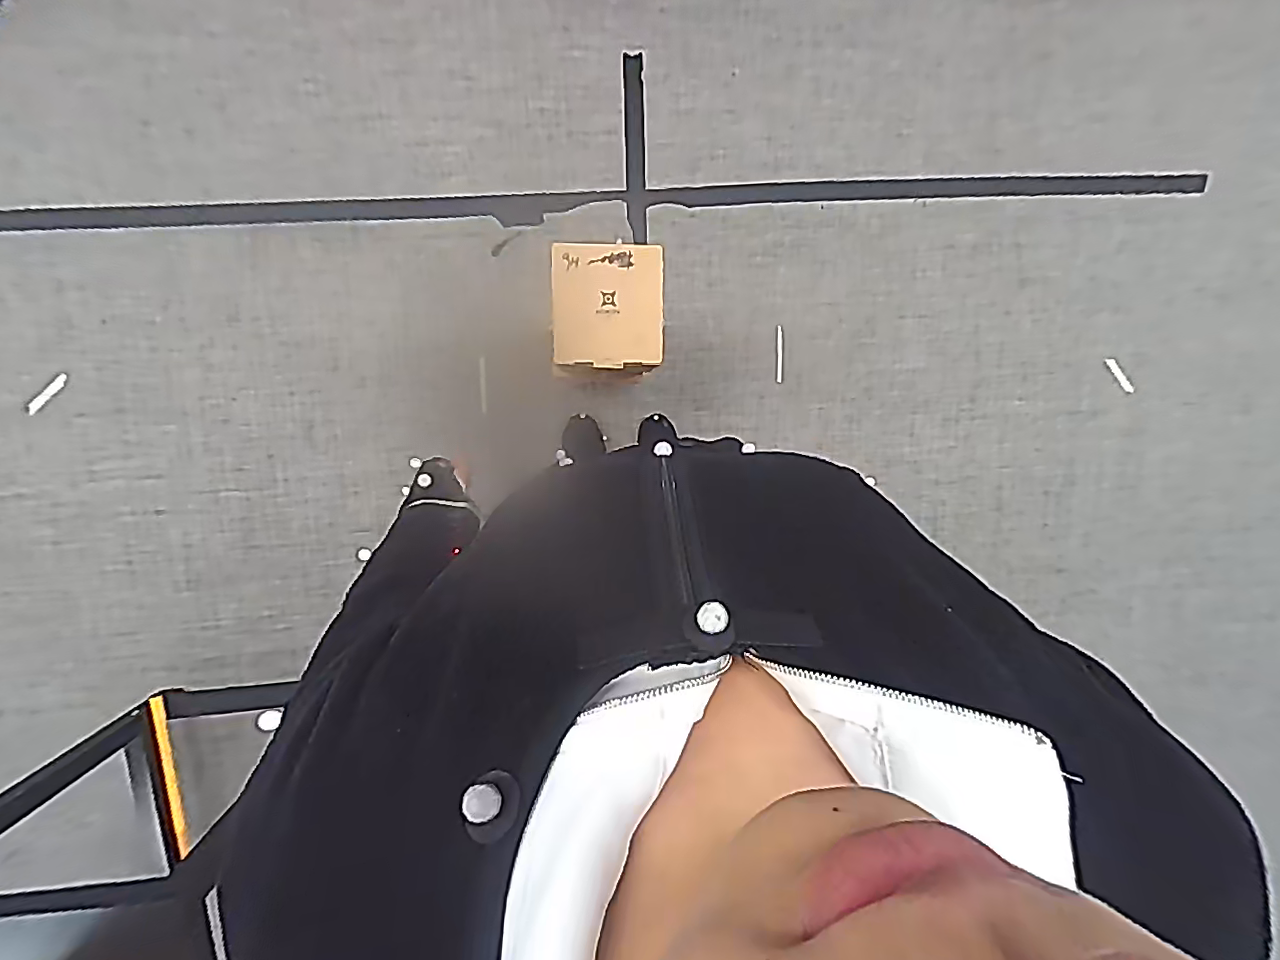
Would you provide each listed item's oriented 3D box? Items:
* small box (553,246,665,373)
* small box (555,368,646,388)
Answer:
[{"bbox_3d":[-0.050,-0.264,0.876,0.168,0.176,0.179,0,98,-4],"label":"small box"},{"bbox_3d":[-0.072,-0.272,1.039,0.168,0.176,0.179,3,99,-4],"label":"small box"}]
